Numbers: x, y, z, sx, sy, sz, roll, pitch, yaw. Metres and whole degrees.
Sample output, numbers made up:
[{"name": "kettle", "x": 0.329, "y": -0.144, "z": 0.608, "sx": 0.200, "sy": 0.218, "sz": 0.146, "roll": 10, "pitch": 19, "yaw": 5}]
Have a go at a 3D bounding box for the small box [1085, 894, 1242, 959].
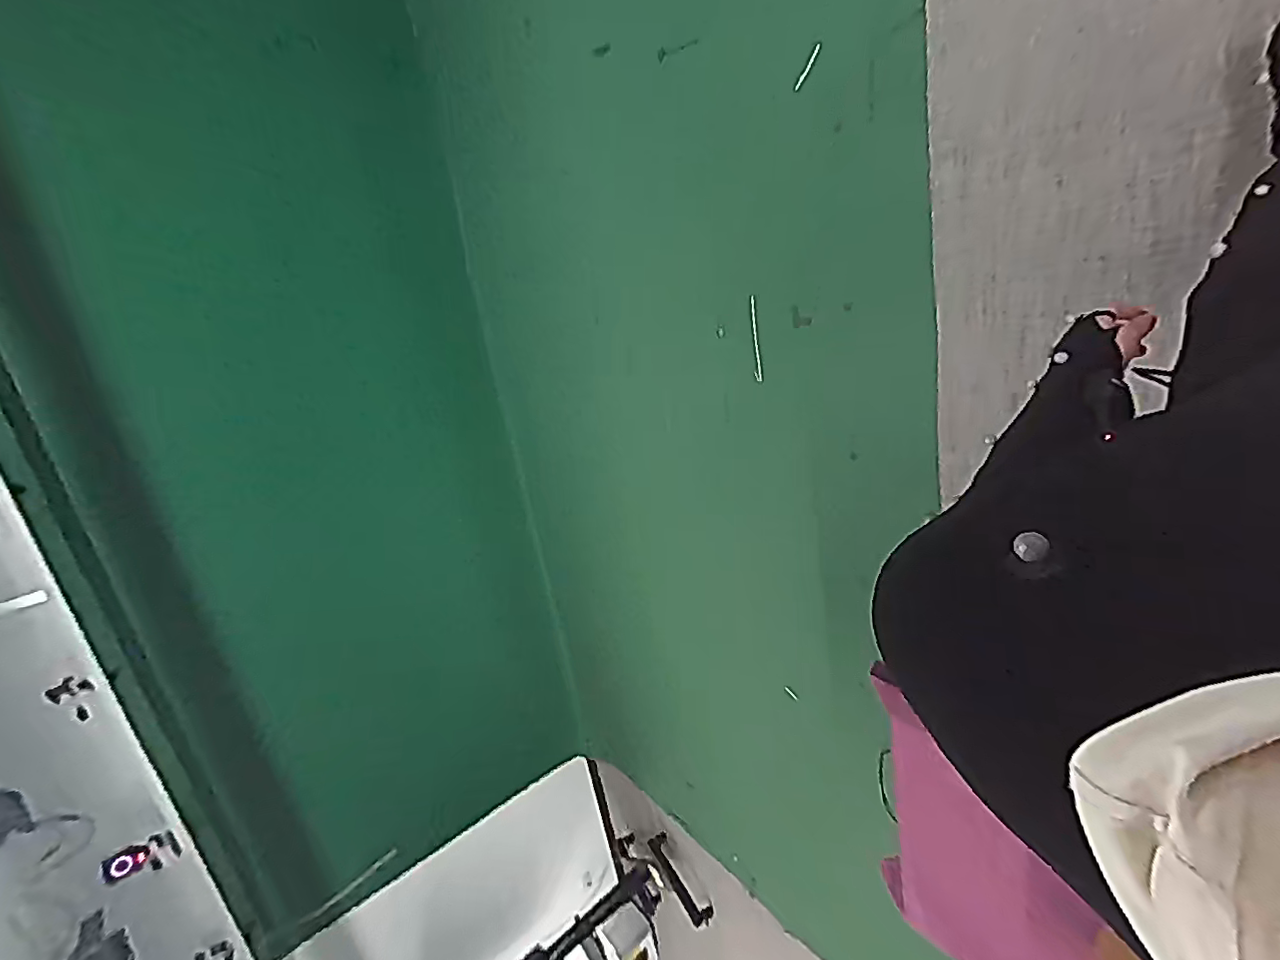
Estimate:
[{"name": "small box", "x": 0.798, "y": 0.798, "z": 0.818, "sx": 0.168, "sy": 0.176, "sz": 0.179, "roll": 4, "pitch": 110, "yaw": 52}]
